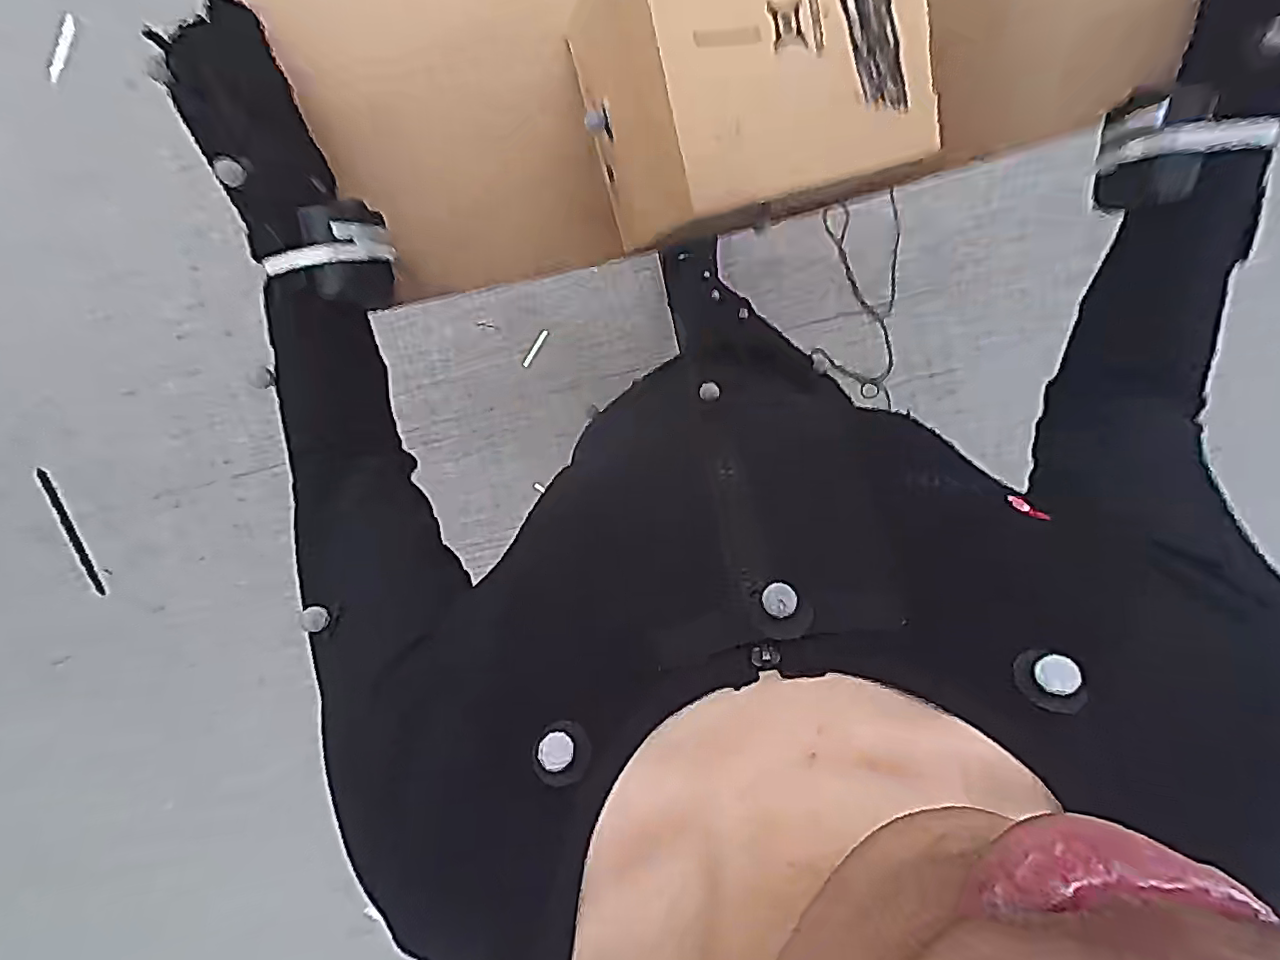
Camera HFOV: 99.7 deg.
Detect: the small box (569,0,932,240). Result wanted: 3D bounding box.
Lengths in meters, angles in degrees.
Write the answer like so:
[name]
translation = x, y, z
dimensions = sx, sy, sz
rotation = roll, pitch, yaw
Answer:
[small box]
translation = 0.065, -0.285, 0.379
dimensions = 0.179, 0.176, 0.168
rotation = -20, 109, -10
